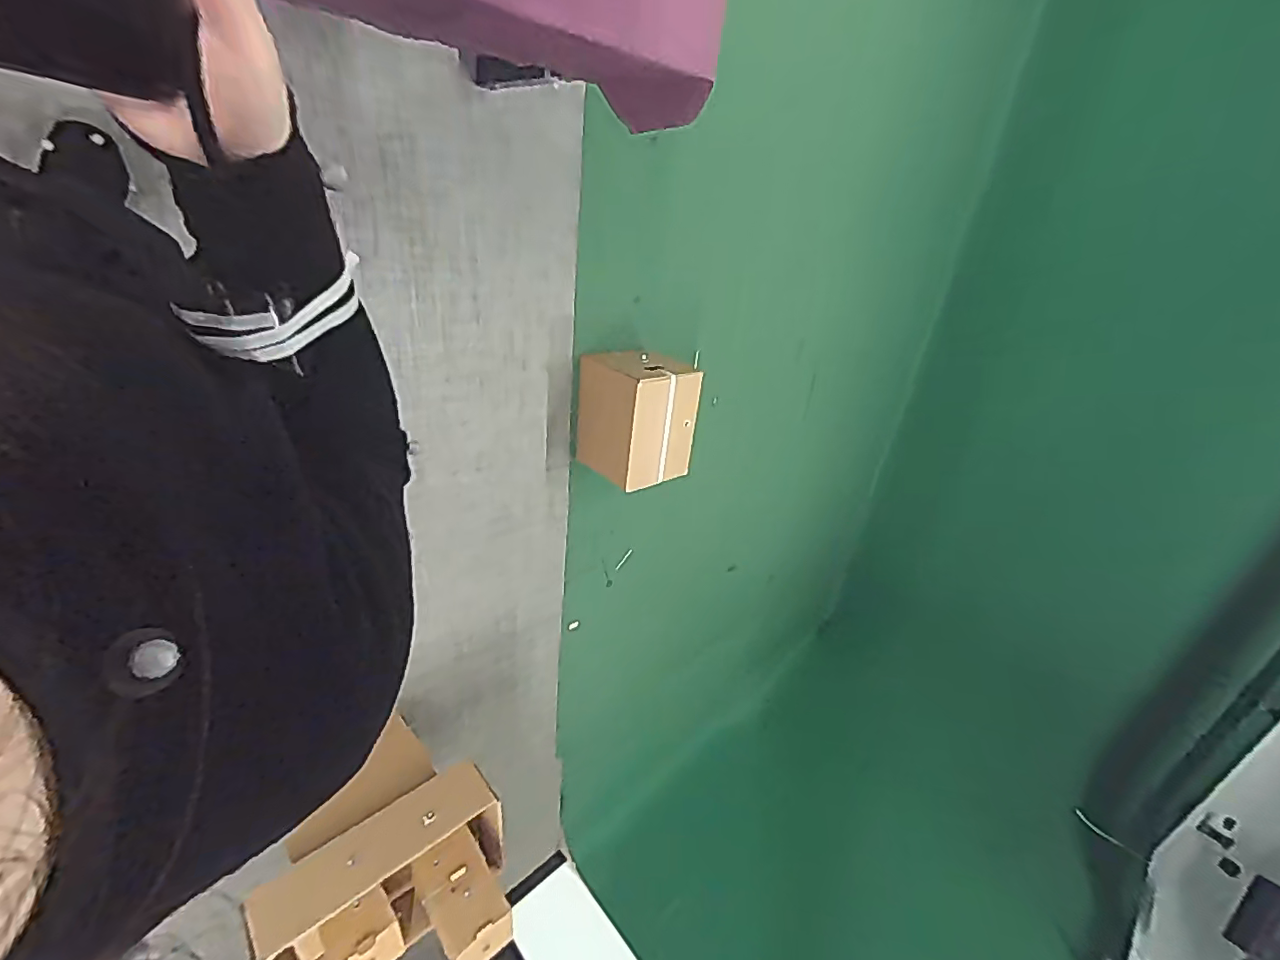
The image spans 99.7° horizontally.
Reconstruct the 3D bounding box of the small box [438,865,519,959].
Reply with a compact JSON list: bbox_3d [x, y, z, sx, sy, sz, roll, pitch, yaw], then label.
[{"bbox_3d":[-0.458,1.254,1.539,0.168,0.176,0.179,-19,126,-38],"label":"small box"}]

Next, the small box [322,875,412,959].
[{"bbox_3d":[-0.751,1.249,1.490,0.168,0.176,0.179,-21,127,-39],"label":"small box"}]
